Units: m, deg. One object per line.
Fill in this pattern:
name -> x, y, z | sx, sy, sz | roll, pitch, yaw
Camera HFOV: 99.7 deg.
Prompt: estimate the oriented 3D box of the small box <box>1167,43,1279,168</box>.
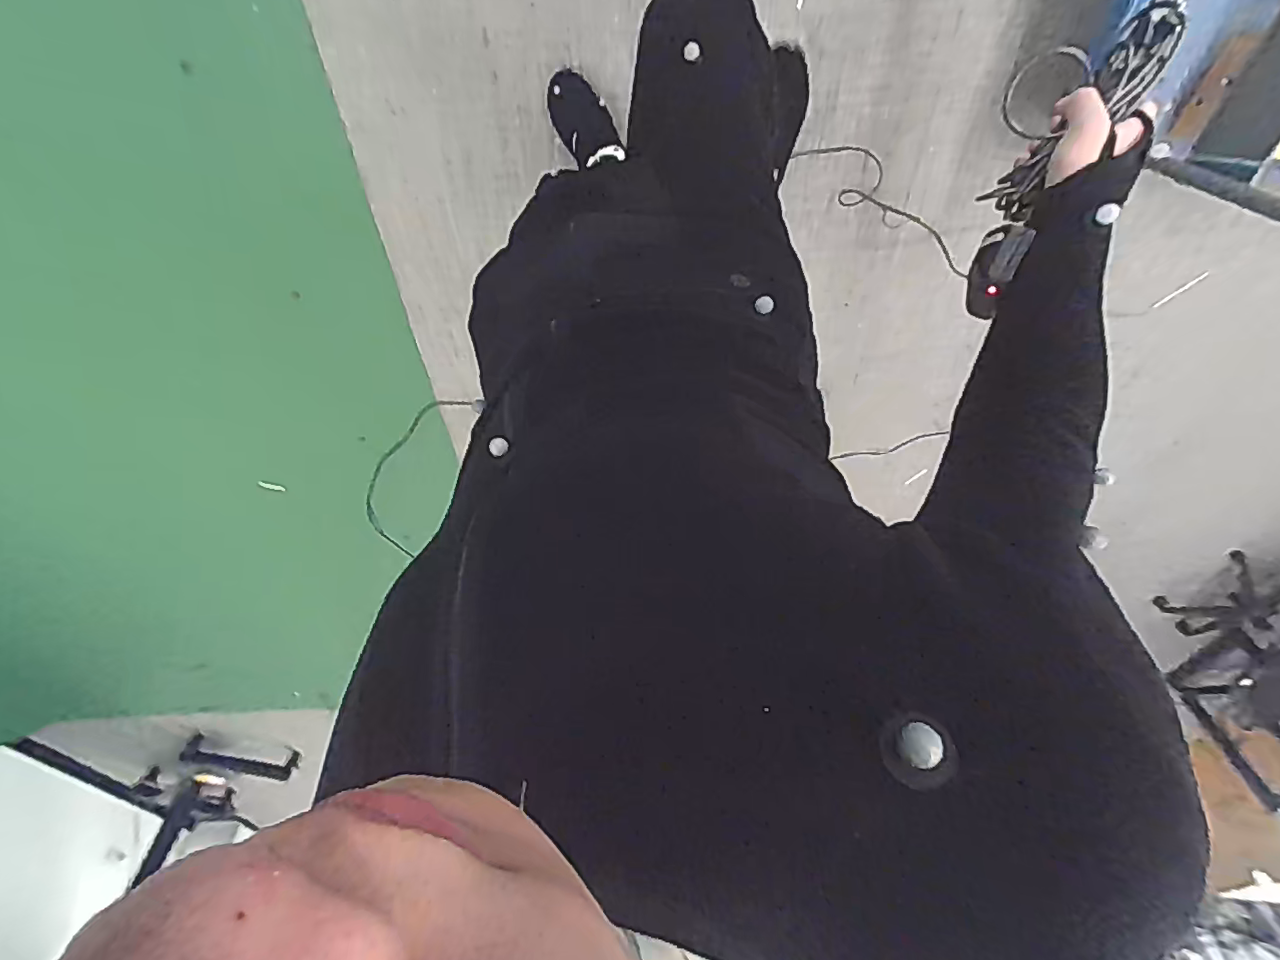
small box -> 1.184, -0.706, 1.018 | 0.179, 0.176, 0.168 | 4, 132, -5
